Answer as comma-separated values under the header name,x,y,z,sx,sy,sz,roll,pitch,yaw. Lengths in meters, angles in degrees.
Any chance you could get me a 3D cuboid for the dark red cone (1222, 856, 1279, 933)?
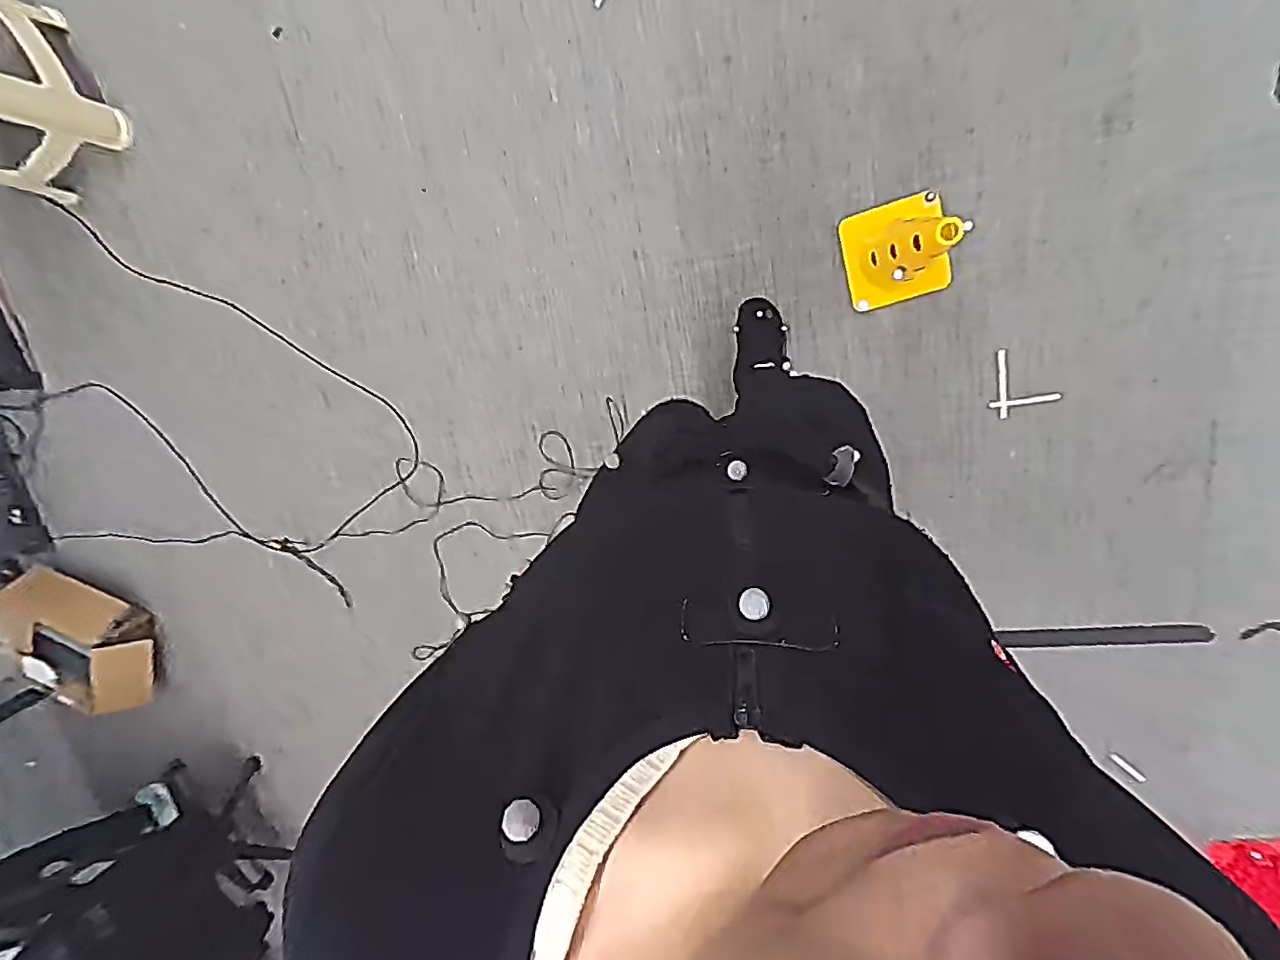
name,x,y,z,sx,sy,sz,roll,pitch,yaw
dark red cone,1.546,1.062,1.193,0.202,0.394,0.201,-14,102,16
